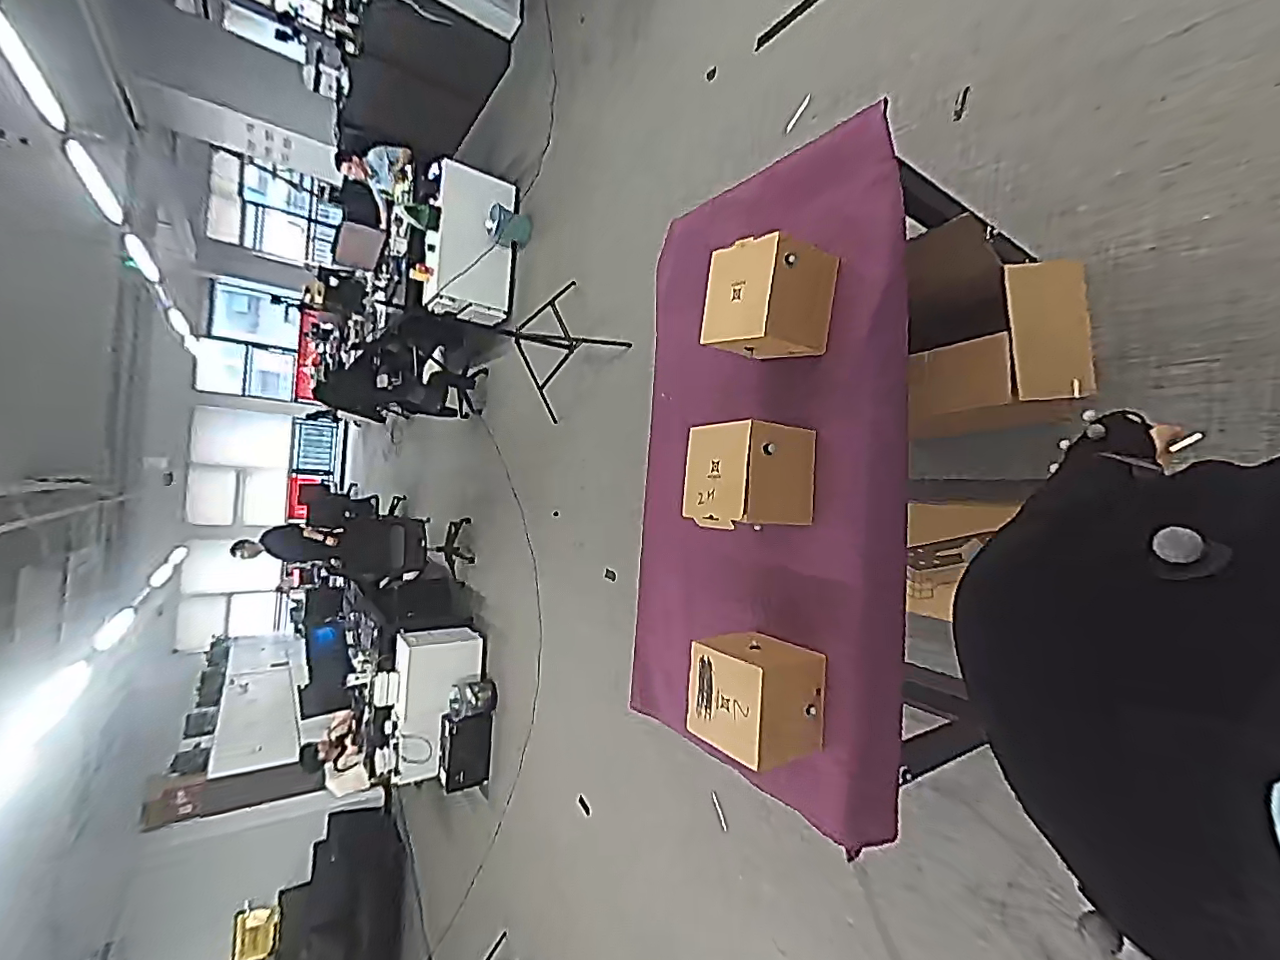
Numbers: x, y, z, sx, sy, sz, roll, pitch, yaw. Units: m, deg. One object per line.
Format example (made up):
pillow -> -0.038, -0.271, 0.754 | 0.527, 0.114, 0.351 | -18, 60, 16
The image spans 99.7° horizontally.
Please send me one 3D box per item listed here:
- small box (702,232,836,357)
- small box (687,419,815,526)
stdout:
small box -> 0.238, -0.326, 0.997 | 0.168, 0.176, 0.179 | 13, 97, 55
small box -> 0.207, -0.010, 1.005 | 0.168, 0.176, 0.179 | 0, 86, 58
